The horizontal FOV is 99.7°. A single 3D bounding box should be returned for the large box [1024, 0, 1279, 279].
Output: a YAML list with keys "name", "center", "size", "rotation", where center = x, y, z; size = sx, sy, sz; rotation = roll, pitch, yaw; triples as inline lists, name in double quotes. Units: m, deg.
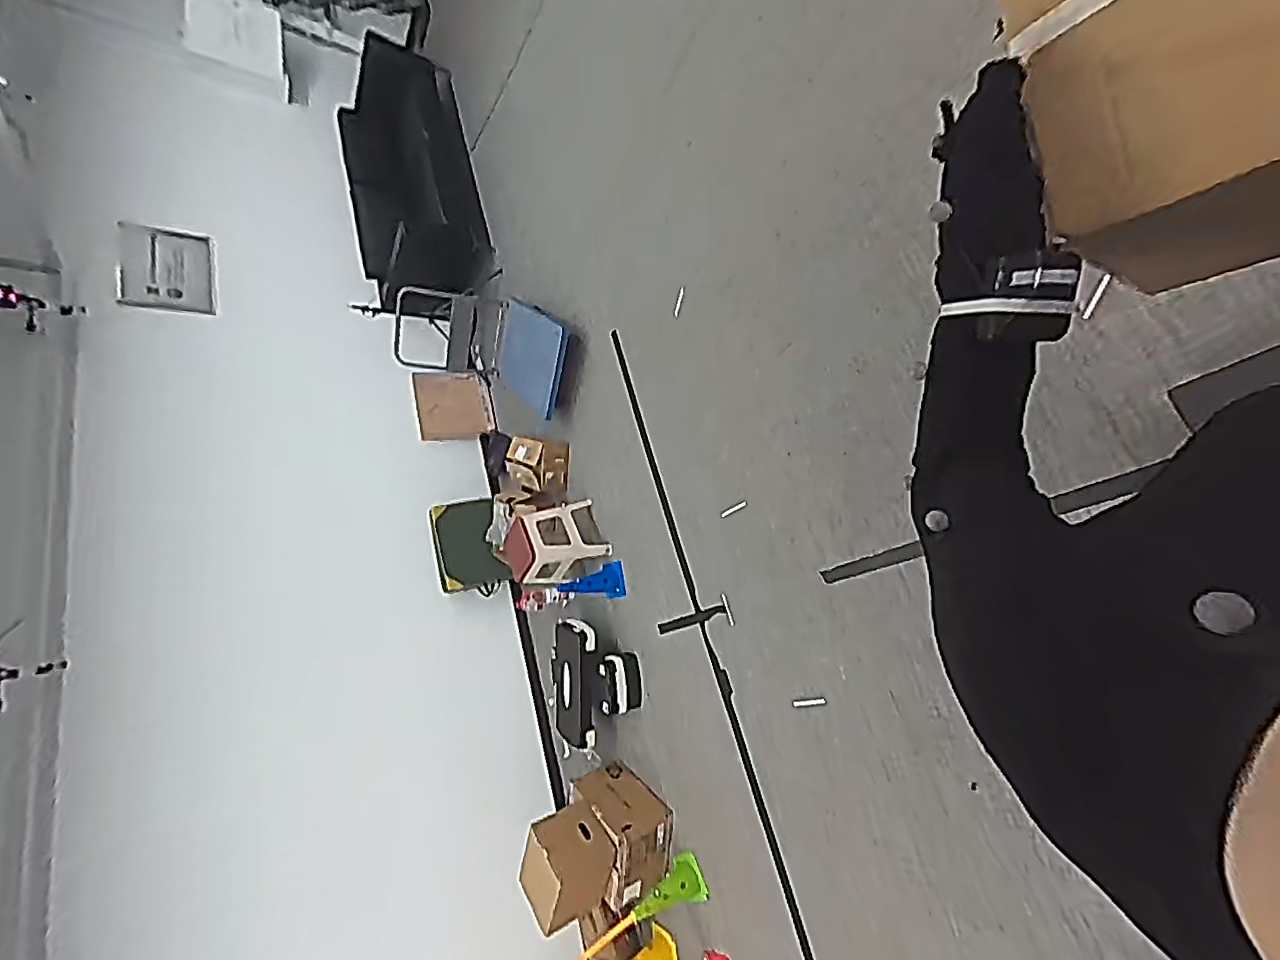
- name: "large box"
  center: [0.536, -0.379, 0.351]
  size: [0.408, 0.320, 0.320]
  rotation: [-12, 86, 52]
